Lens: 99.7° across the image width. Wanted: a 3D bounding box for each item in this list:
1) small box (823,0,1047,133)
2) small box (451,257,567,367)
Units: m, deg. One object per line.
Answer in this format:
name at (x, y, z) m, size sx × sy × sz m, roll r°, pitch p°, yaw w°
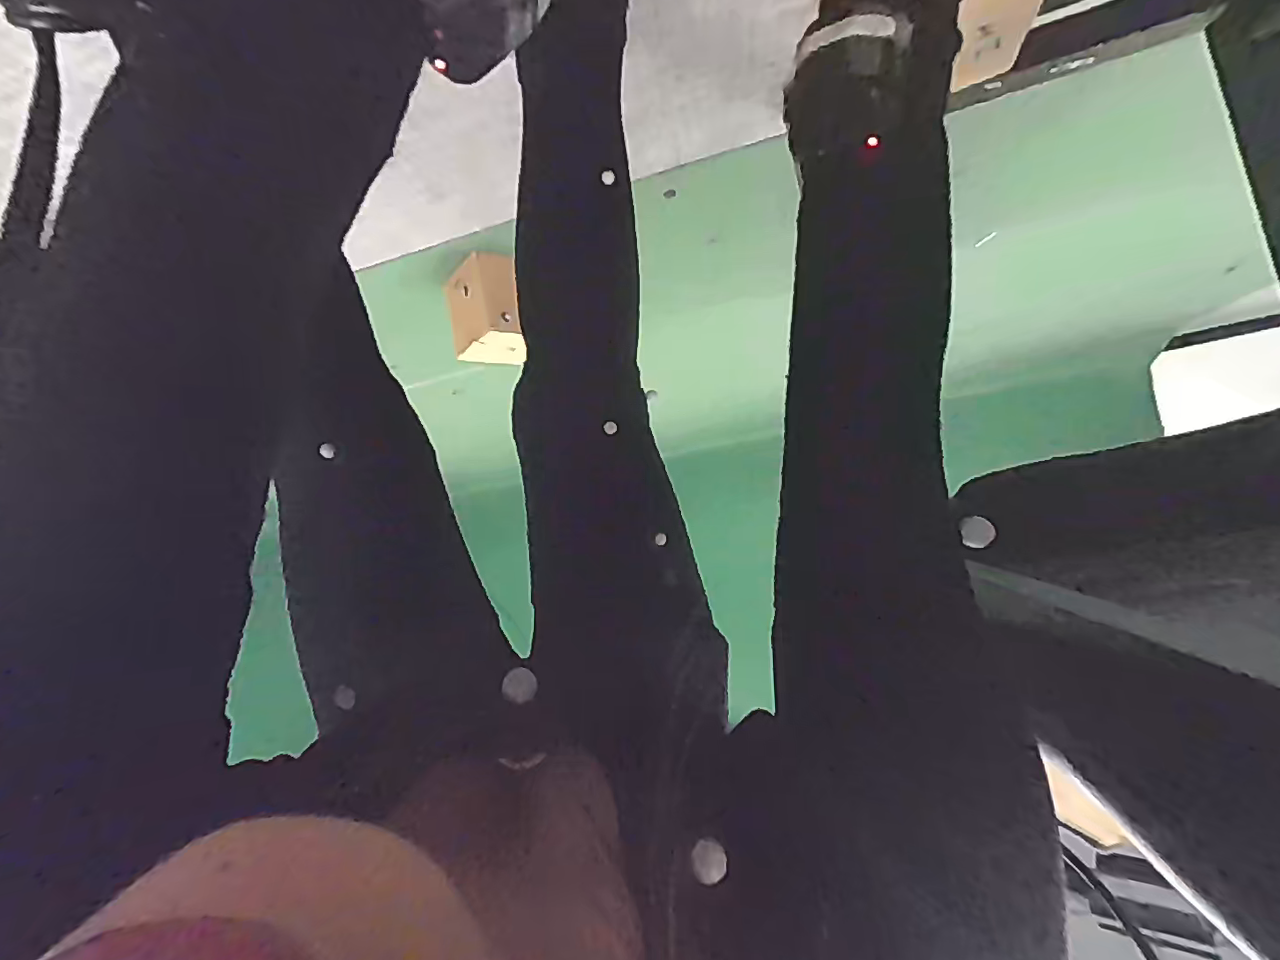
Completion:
small box at (0.287, -0.507, 0.543) m, size 0.179 × 0.176 × 0.168 m, roll -12°, pitch 175°, yaw 18°
small box at (-0.282, -0.352, 1.155) m, size 0.179 × 0.176 × 0.168 m, roll -5°, pitch 173°, yaw -41°
